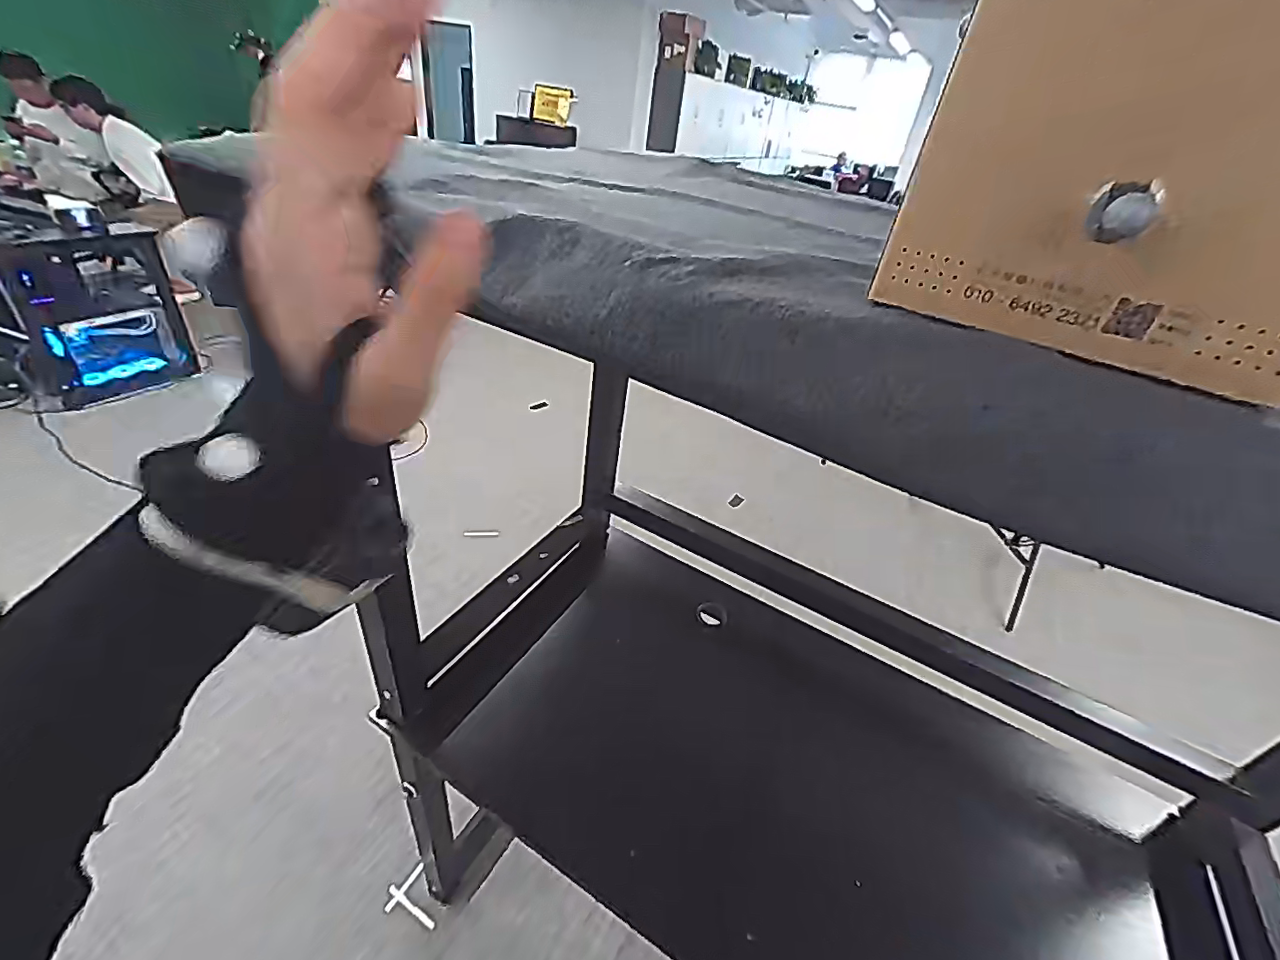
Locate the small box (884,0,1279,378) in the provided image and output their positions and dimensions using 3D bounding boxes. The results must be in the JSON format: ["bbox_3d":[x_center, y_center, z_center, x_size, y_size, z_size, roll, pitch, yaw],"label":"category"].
[{"bbox_3d":[0.239,-0.168,0.260,0.168,0.176,0.179,24,35,21],"label":"small box"}]
